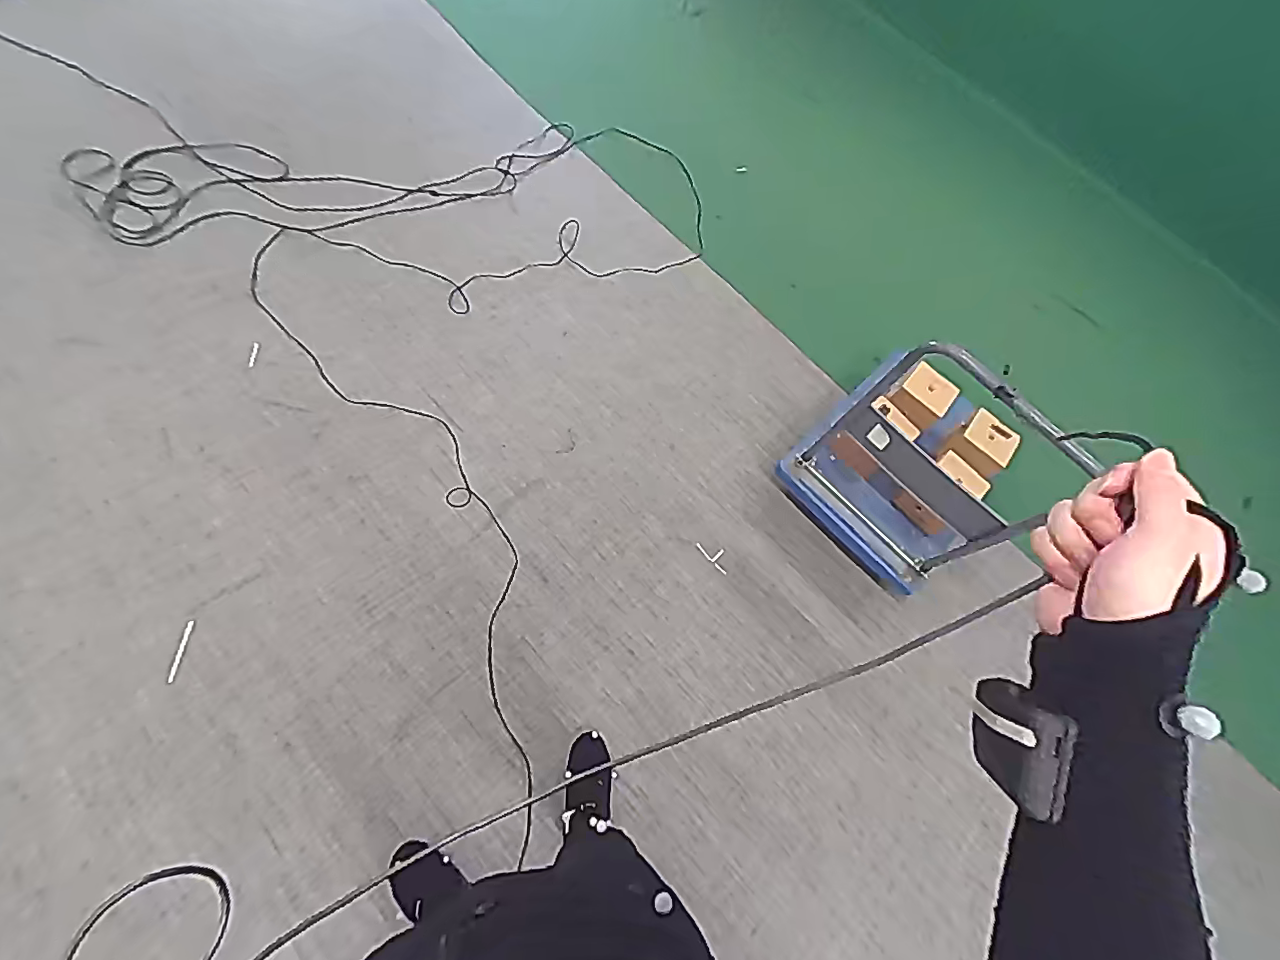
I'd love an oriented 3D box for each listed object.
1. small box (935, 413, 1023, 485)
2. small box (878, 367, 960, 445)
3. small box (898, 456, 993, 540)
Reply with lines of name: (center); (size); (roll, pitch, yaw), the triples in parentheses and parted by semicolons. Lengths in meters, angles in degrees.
small box: (1.155, -0.088, 1.856); (0.168, 0.176, 0.179); (42, 62, 10)
small box: (0.970, -0.253, 1.896); (0.168, 0.176, 0.179); (42, 61, 9)
small box: (0.969, 0.061, 1.730); (0.179, 0.176, 0.168); (-38, 77, -27)
